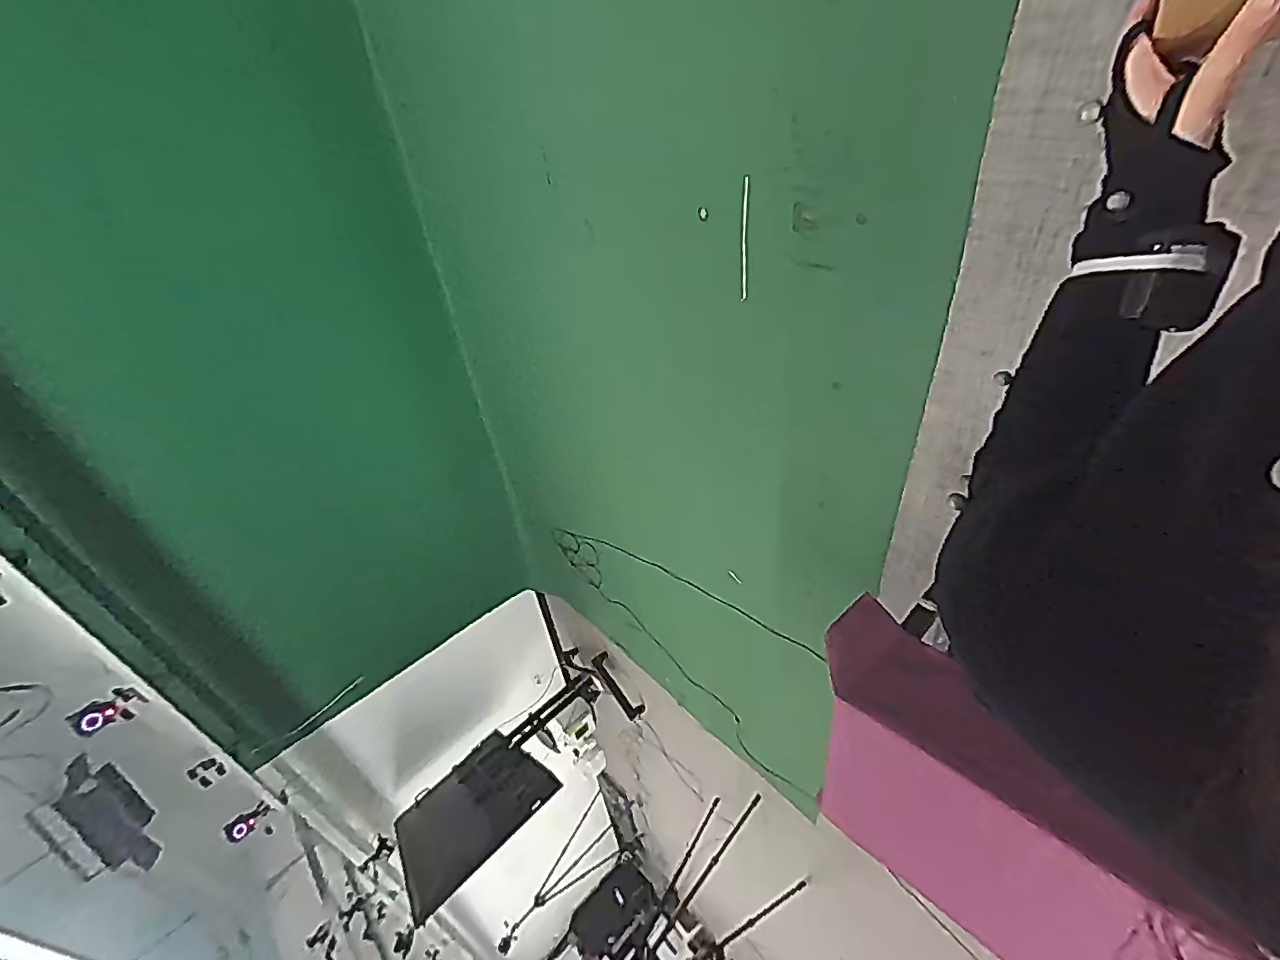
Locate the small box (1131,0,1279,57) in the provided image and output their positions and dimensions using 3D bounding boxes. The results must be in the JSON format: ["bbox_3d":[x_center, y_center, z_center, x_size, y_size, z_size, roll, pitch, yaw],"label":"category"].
[{"bbox_3d":[0.394,-0.371,0.271,0.168,0.179,0.176,14,93,31],"label":"small box"}]
